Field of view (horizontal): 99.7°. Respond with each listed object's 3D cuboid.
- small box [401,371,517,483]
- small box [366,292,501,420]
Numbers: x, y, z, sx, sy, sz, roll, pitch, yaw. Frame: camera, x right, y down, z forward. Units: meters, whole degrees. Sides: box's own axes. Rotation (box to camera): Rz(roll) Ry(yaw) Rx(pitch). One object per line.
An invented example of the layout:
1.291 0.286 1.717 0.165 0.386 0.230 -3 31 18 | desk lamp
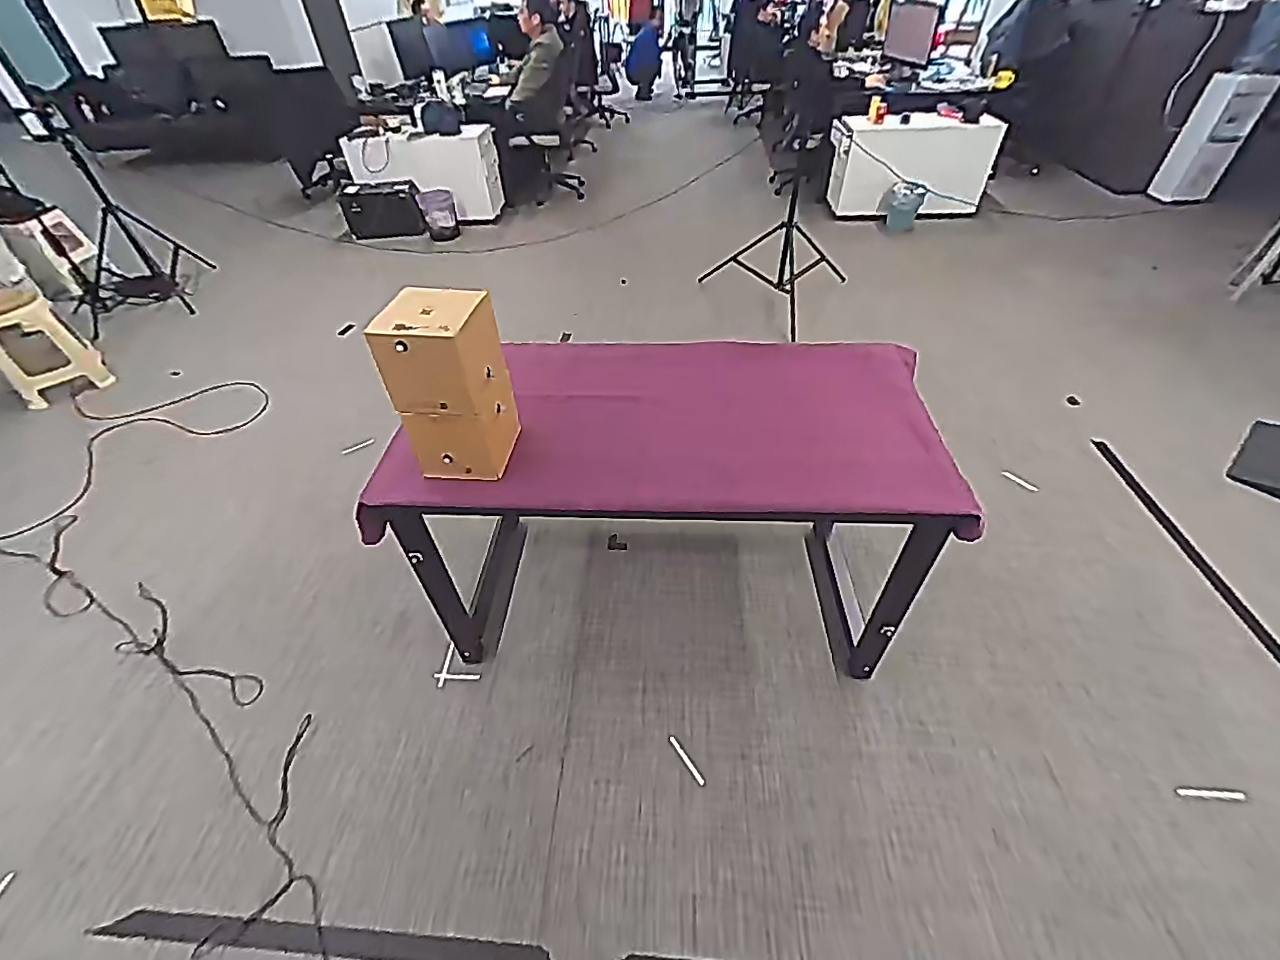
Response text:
-0.365 -0.116 1.132 0.168 0.176 0.179 3 44 5 | small box
-0.373 -0.236 1.020 0.168 0.176 0.179 4 43 6 | small box
